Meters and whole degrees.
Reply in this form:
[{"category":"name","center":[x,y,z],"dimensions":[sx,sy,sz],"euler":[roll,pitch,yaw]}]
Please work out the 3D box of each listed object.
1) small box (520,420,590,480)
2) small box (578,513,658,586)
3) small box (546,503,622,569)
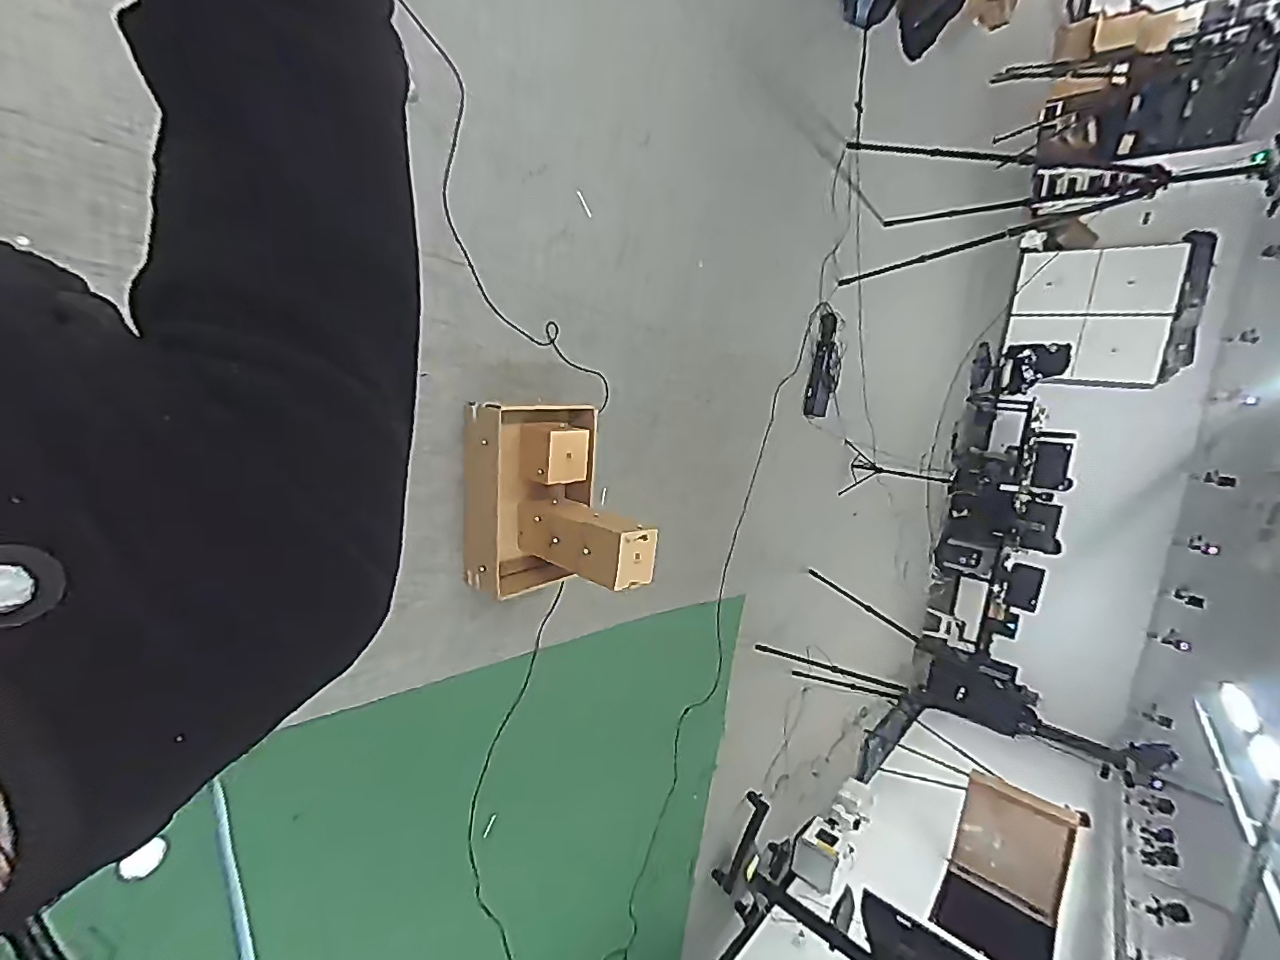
[{"category":"small box","center":[-0.289,-0.107,1.824],"dimensions":[0.168,0.176,0.179],"euler":[-8,109,-46]},{"category":"small box","center":[-0.071,0.207,1.659],"dimensions":[0.168,0.176,0.179],"euler":[-1,102,-49]},{"category":"small box","center":[-0.184,0.175,1.776],"dimensions":[0.179,0.176,0.168],"euler":[-6,106,-47]}]
